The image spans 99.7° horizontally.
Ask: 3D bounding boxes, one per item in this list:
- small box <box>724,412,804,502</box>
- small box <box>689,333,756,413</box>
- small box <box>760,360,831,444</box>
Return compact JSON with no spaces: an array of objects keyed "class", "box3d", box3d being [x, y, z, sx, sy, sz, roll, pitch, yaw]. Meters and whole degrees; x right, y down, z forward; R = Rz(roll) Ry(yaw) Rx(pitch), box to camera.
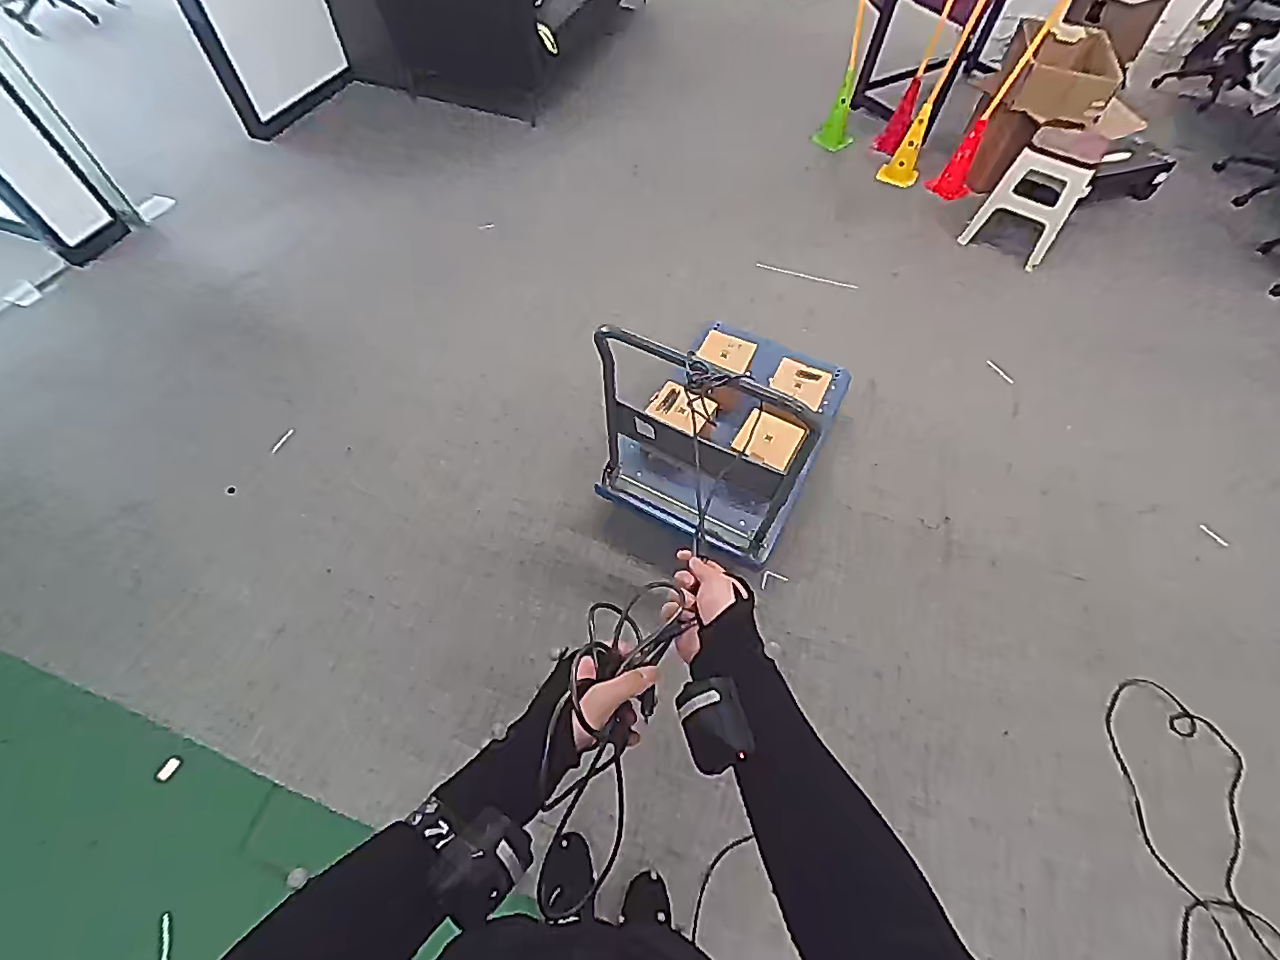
[{"class":"small box","box3d":[0.368,-0.068,1.638,0.168,0.176,0.179,27,62,15]},{"class":"small box","box3d":[0.270,-0.355,1.815,0.168,0.176,0.179,23,60,12]},{"class":"small box","box3d":[0.494,-0.249,1.752,0.168,0.176,0.179,23,61,14]}]
